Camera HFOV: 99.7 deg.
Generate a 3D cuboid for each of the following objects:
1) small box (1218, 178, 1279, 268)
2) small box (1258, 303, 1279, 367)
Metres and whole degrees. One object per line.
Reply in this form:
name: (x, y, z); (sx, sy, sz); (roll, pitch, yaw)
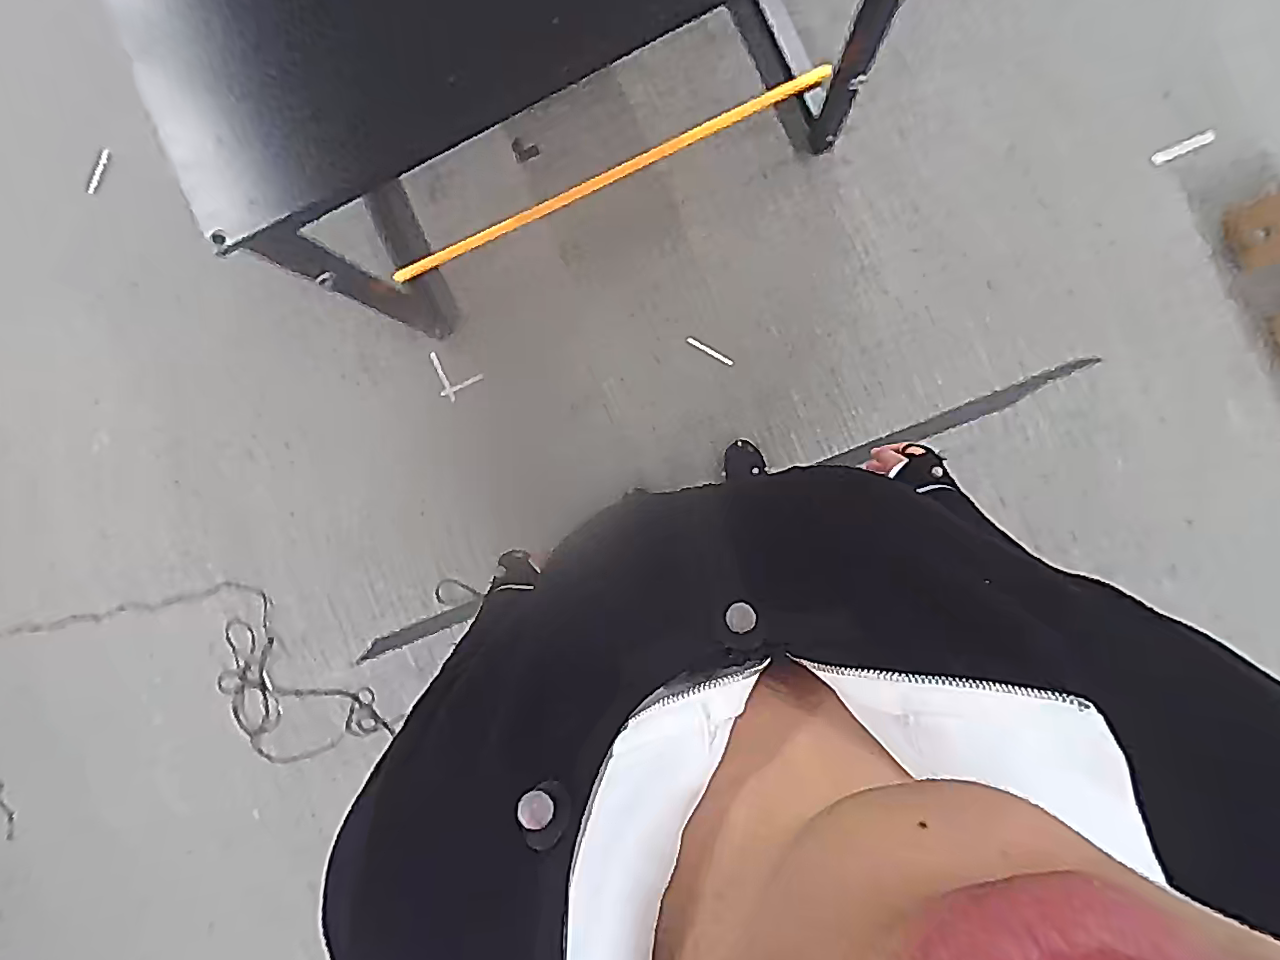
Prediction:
small box: (1.540, -0.630, 1.277); (0.179, 0.176, 0.168); (-21, 91, 6)
small box: (1.660, -0.369, 1.283); (0.168, 0.176, 0.179); (-25, 91, 5)
